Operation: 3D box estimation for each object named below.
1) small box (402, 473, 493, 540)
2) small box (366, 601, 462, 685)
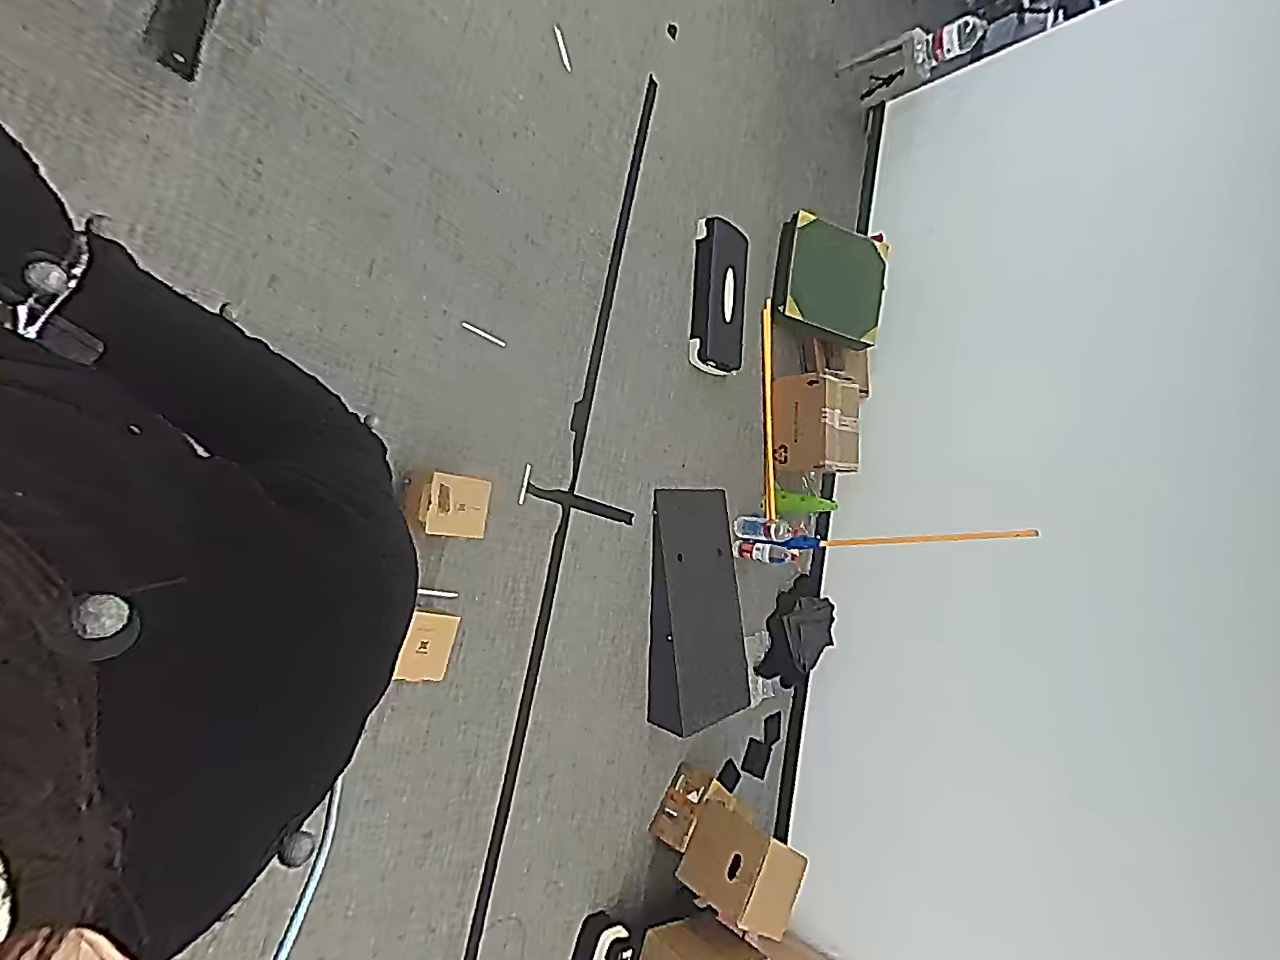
[{"bbox_3d":[-0.542,0.074,1.515,0.179,0.176,0.168,13,83,-46],"label":"small box"},{"bbox_3d":[-0.614,0.438,1.458,0.168,0.176,0.179,24,74,-44],"label":"small box"}]
